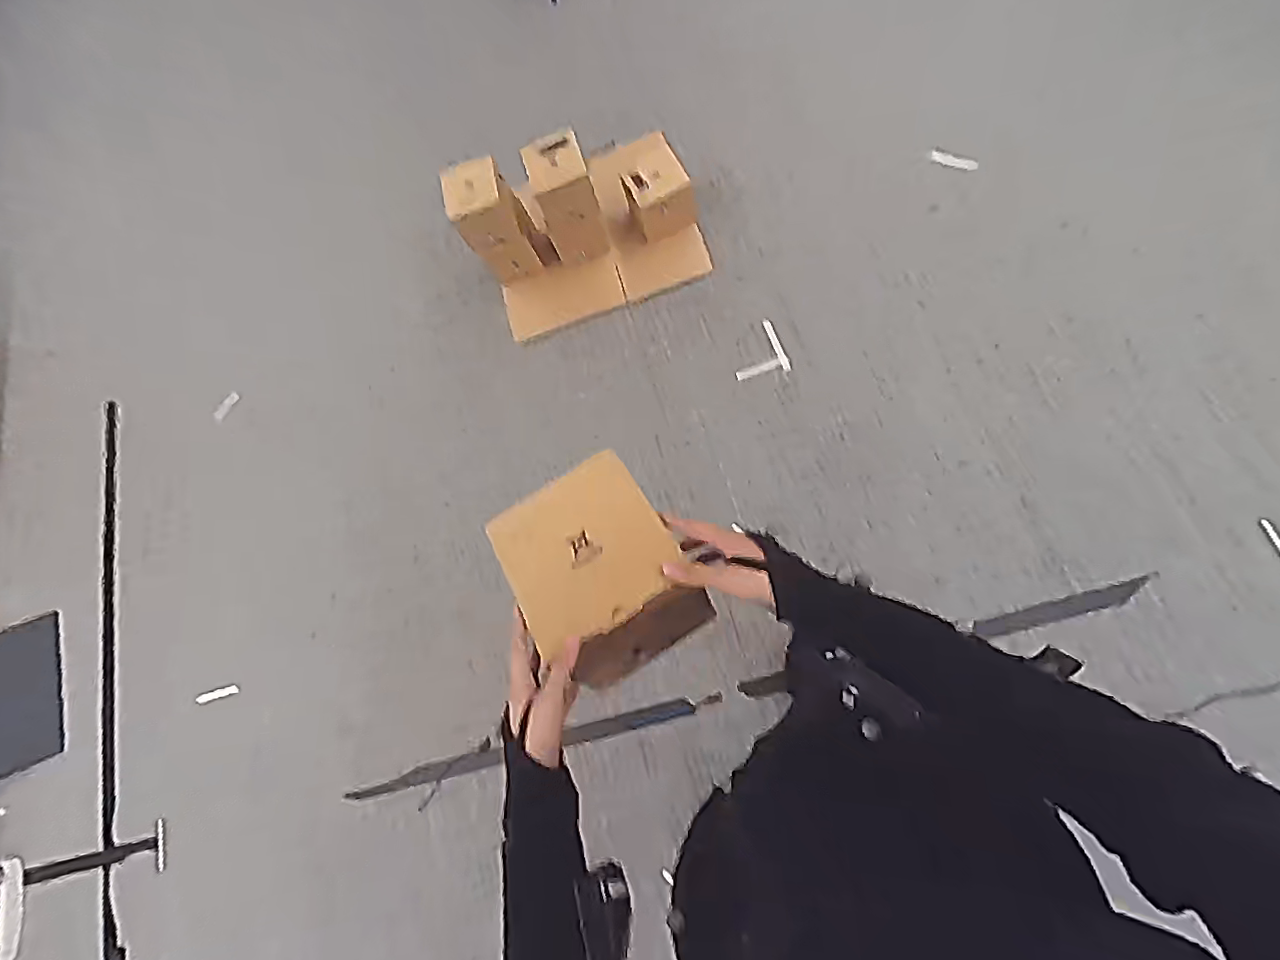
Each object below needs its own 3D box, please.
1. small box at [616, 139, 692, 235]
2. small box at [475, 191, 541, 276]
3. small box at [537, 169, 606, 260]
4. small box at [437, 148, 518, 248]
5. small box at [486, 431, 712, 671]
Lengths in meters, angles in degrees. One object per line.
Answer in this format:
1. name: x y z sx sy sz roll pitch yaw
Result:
1. small box: 0.050 -0.916 1.708 0.179 0.176 0.168 -27 73 4
2. small box: -0.440 -0.802 1.783 0.168 0.176 0.179 -16 75 8
3. small box: -0.218 -0.854 1.750 0.168 0.176 0.179 -15 74 8
4. small box: -0.485 -0.843 1.629 0.168 0.176 0.179 -15 75 9
5. small box: -0.038 0.086 0.601 0.168 0.176 0.179 -32 59 -3
